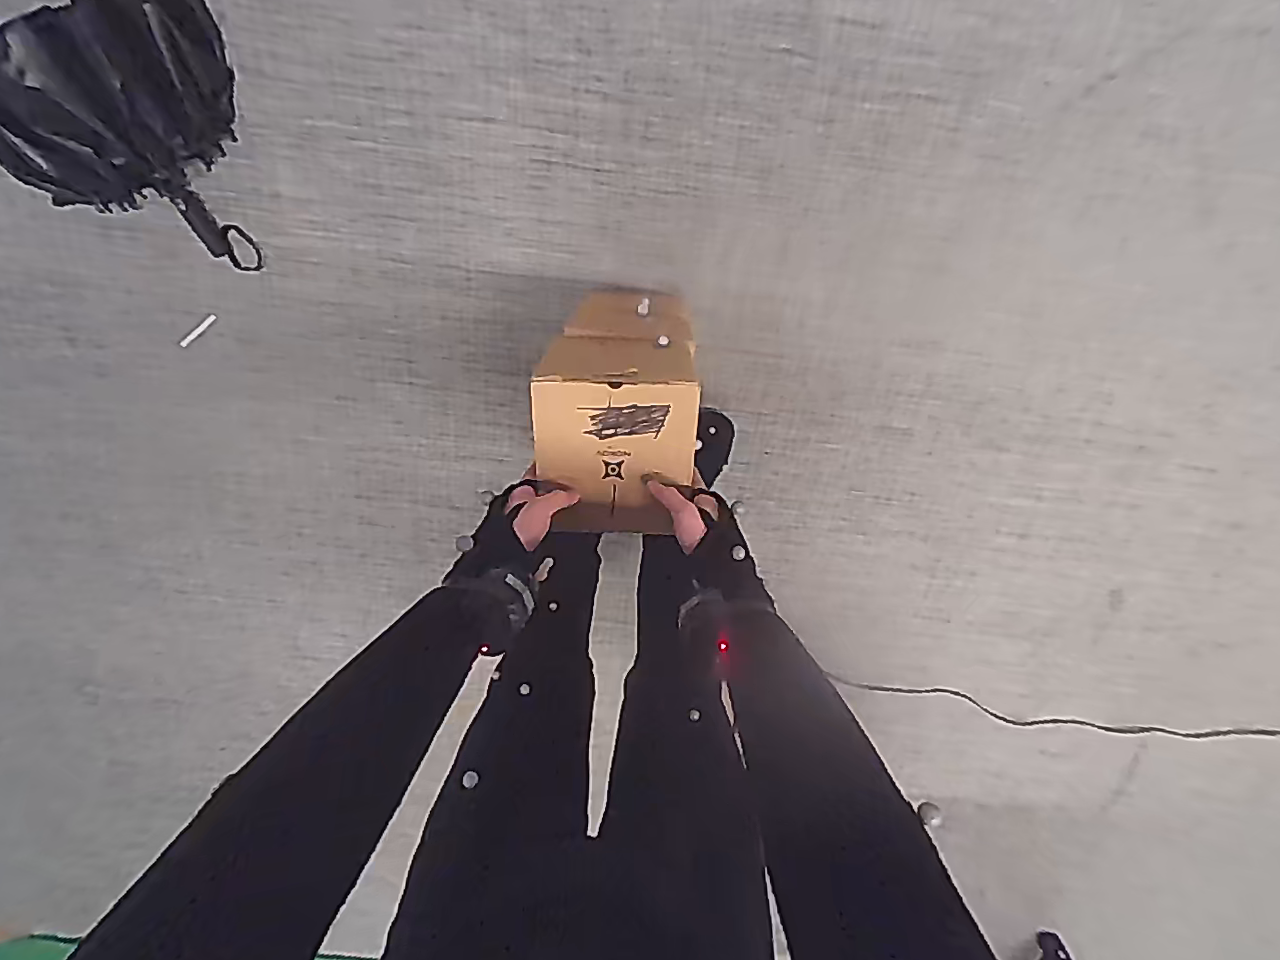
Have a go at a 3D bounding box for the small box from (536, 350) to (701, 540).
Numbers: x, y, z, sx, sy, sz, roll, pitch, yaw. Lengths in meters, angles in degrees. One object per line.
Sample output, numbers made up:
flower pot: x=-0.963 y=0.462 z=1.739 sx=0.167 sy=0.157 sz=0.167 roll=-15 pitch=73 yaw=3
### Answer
small box: x=-0.025 y=-0.048 z=0.636 sx=0.168 sy=0.176 sz=0.179 roll=2 pitch=118 yaw=-1

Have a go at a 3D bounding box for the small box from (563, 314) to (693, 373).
small box: x=-0.020 y=-0.131 z=0.779 sx=0.168 sy=0.176 sz=0.179 roll=5 pitch=116 yaw=-2
